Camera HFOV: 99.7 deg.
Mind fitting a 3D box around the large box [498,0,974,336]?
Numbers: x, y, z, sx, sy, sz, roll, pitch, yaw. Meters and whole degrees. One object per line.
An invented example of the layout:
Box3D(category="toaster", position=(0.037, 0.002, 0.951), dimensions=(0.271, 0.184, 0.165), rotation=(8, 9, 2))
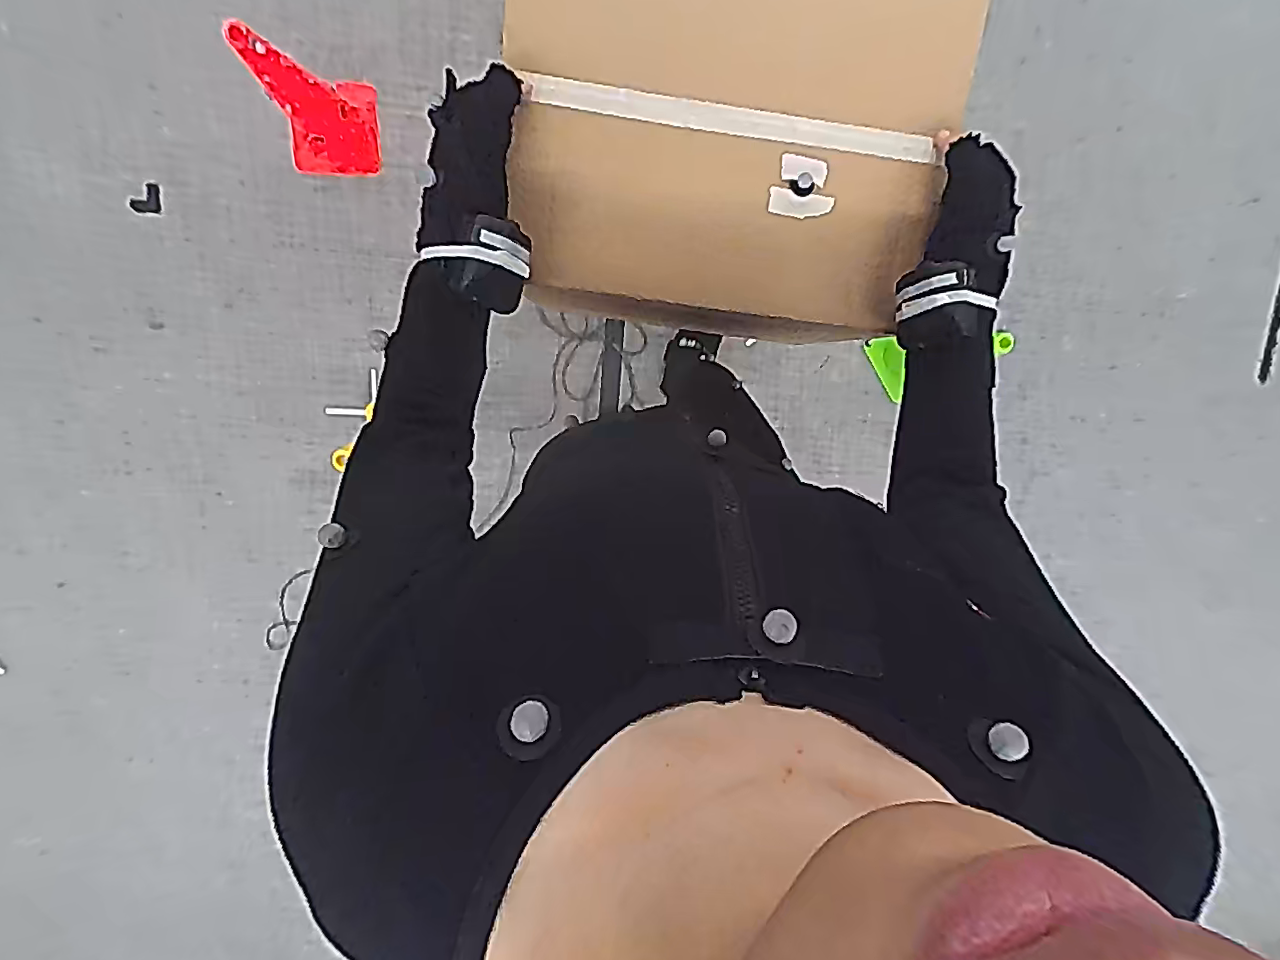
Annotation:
Box3D(category="large box", position=(0.072, -0.353, 0.623), dimensions=(0.408, 0.320, 0.320), rotation=(6, 102, -5))

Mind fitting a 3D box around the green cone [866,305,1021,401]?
Box3D(category="green cone", position=(0.740, -0.311, 1.278), dimensions=(0.202, 0.368, 0.200), rotation=(-34, 101, 1))

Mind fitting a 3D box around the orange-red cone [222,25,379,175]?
Box3D(category="orange-red cone", position=(-0.709, -0.794, 1.104), dimensions=(0.198, 0.360, 0.199), rotation=(1, 101, -3))
